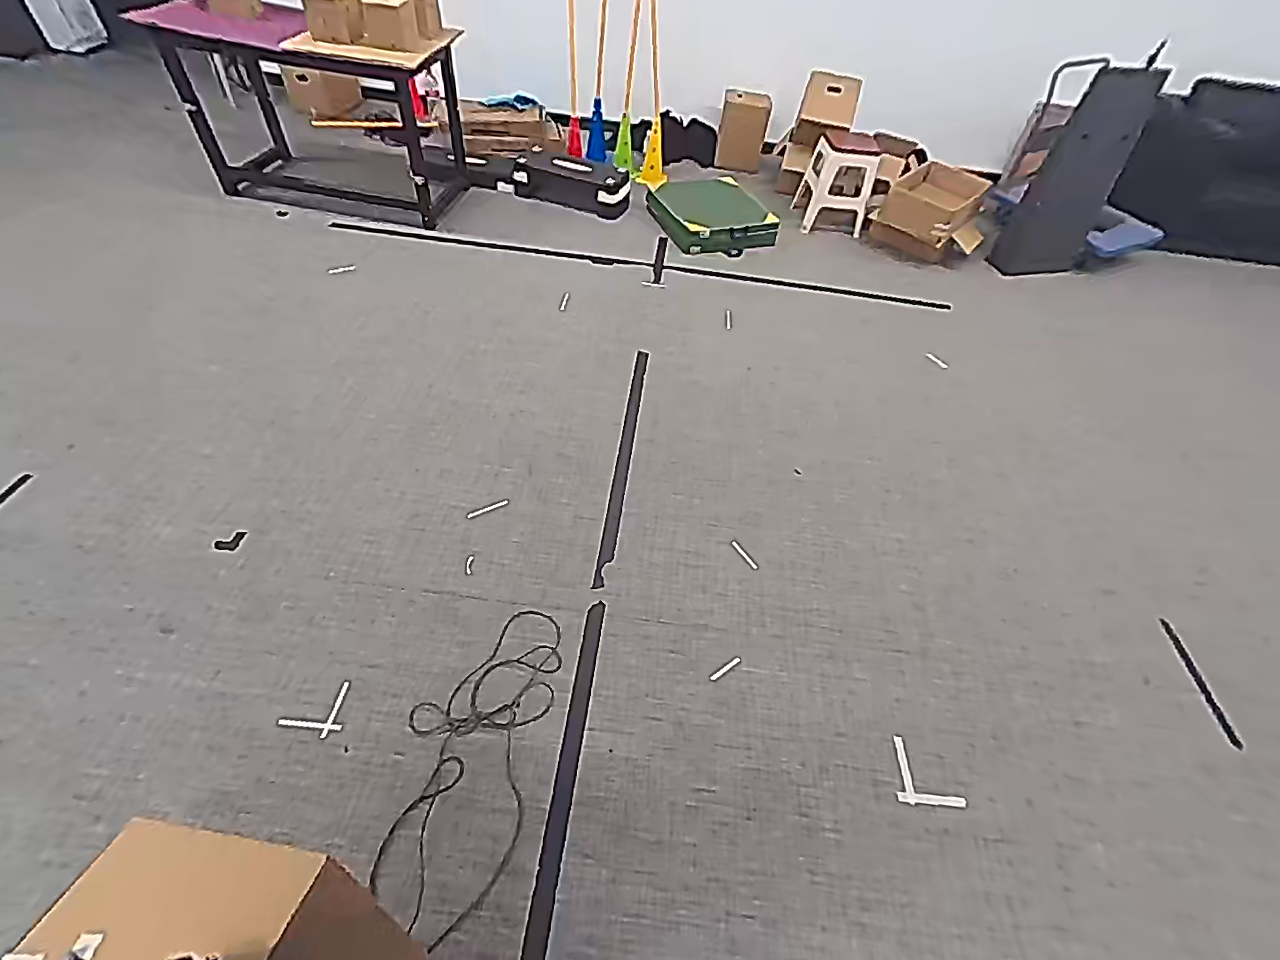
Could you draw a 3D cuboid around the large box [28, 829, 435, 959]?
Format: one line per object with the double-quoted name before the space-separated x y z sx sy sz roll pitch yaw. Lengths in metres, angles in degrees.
"large box" -0.505 0.693 0.652 0.320 0.408 0.320 1 34 15
